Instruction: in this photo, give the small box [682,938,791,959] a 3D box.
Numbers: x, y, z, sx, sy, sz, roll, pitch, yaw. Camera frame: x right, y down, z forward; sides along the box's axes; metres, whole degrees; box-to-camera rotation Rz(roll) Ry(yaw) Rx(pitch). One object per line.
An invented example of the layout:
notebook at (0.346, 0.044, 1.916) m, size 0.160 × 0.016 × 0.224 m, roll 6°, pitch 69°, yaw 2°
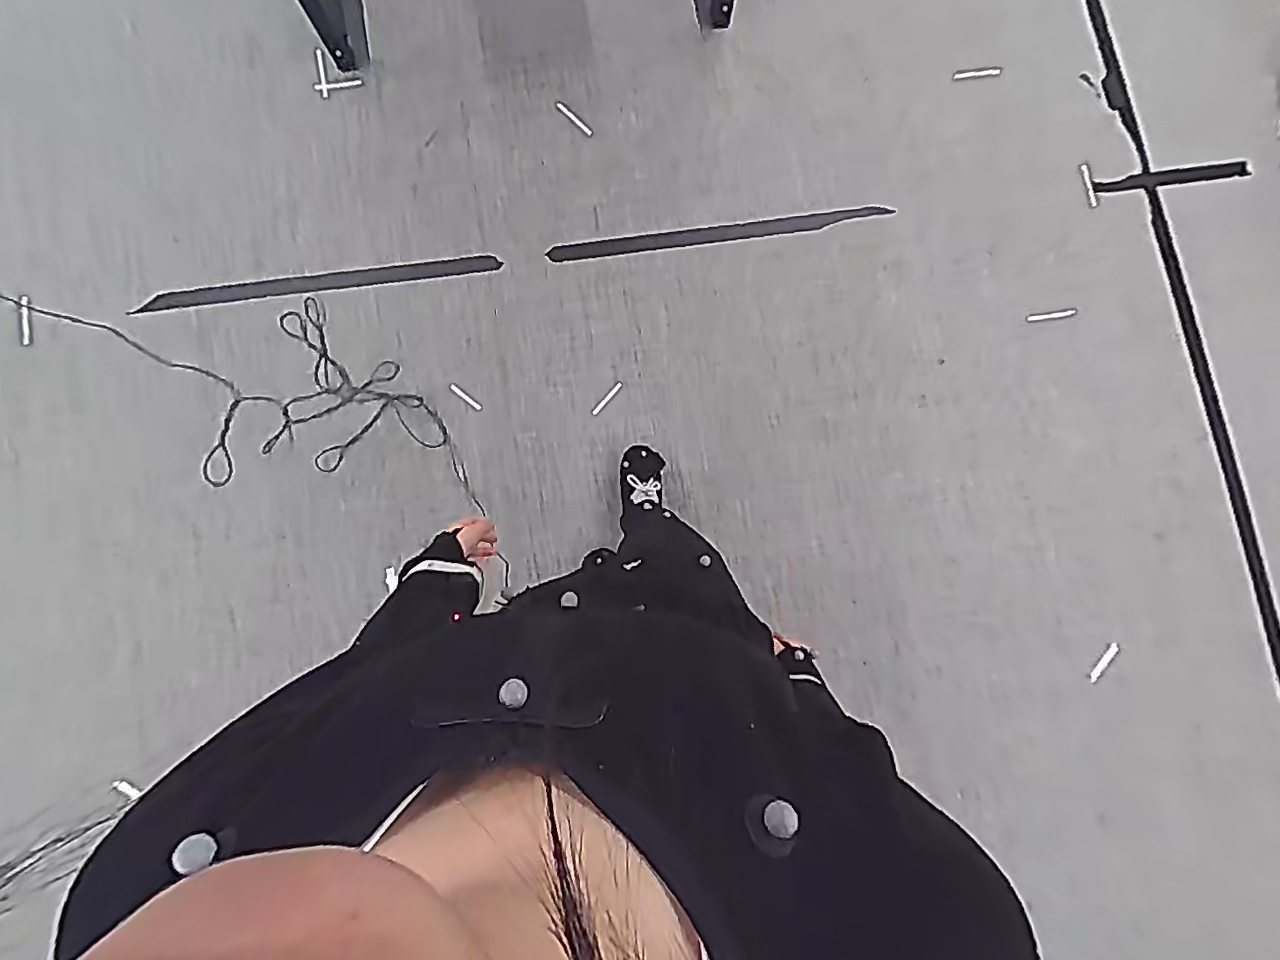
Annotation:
small box at (0.156, 0.799, 0.768) m, size 0.168 × 0.176 × 0.179 m, roll -6°, pitch 85°, yaw -3°
